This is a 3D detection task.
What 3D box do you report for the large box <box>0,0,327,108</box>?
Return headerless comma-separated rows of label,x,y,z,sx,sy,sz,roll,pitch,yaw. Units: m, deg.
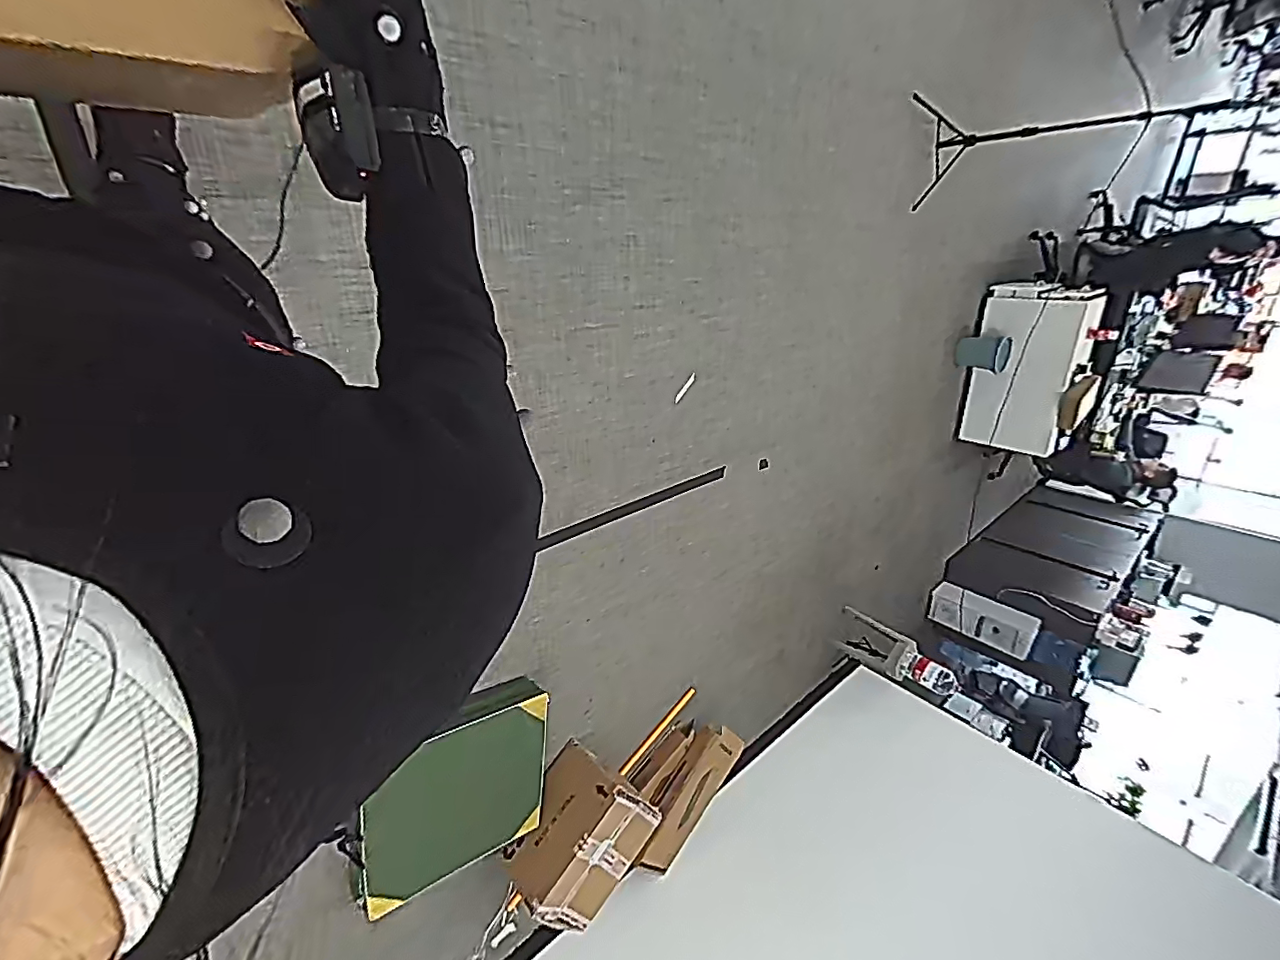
large box,-0.453,-0.403,0.272,0.408,0.320,0.320,-21,127,-37
